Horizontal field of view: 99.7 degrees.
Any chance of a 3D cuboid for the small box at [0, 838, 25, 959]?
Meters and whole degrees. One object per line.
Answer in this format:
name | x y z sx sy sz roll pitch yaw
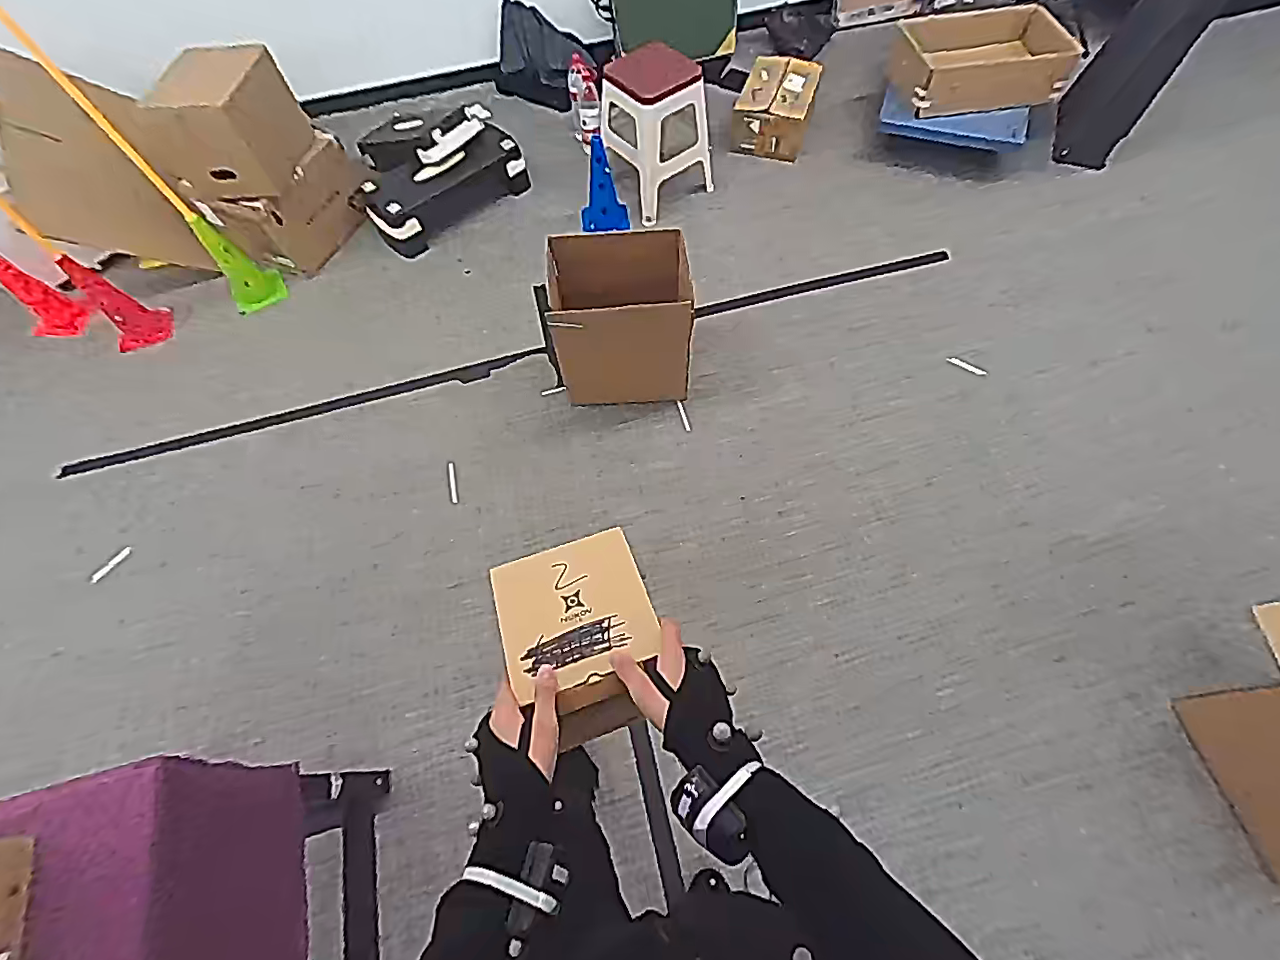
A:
small box | -0.866 0.528 0.603 0.179 0.176 0.168 -19 64 -6
